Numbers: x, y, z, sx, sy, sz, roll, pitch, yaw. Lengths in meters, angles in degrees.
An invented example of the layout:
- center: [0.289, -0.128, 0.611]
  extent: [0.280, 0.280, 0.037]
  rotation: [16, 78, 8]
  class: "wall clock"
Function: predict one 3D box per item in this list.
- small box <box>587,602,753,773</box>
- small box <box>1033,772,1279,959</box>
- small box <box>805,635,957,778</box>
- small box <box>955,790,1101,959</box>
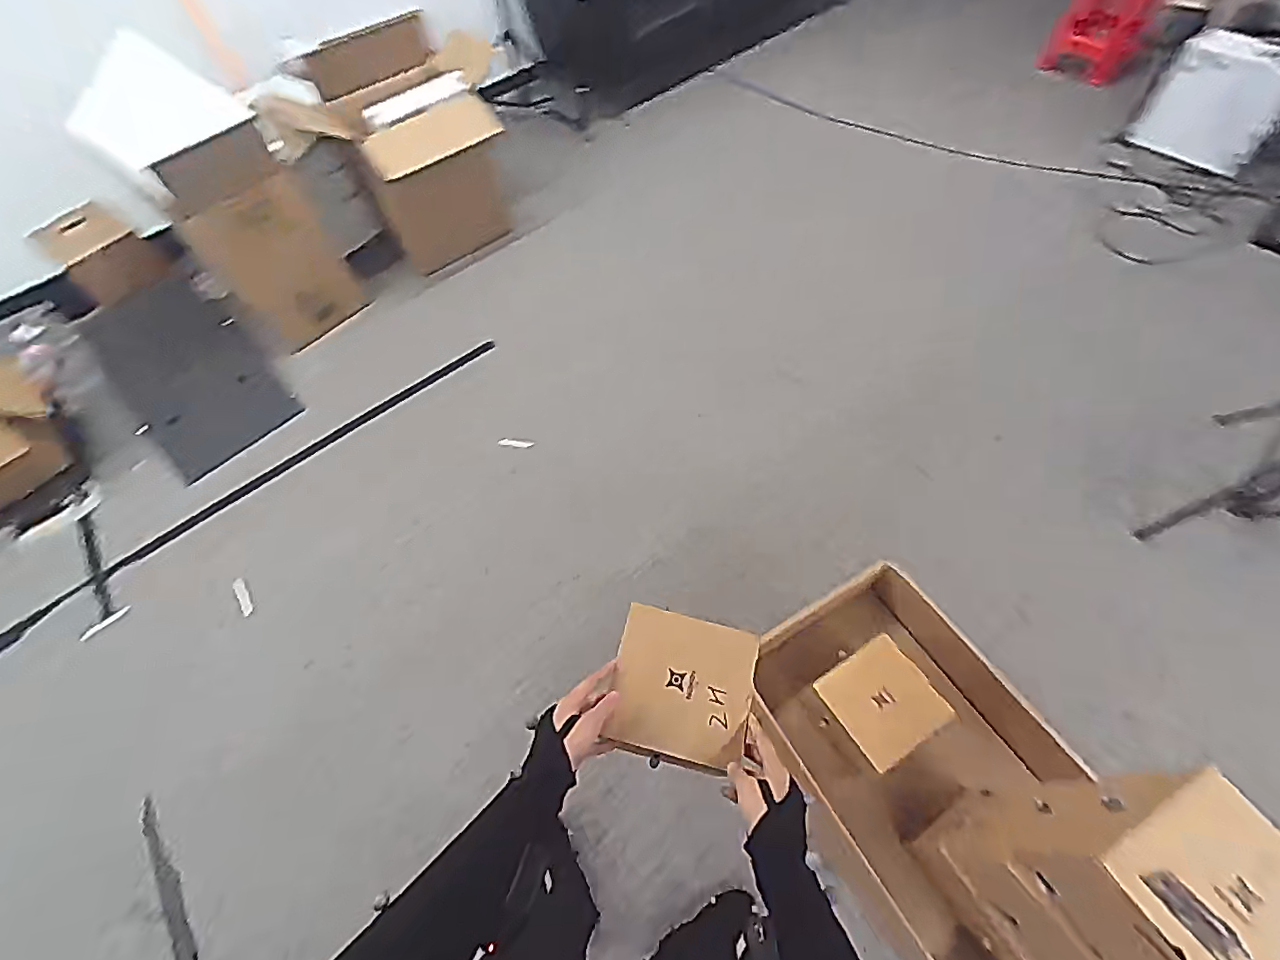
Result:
- center: [0.037, 0.285, 0.726]
  extent: [0.179, 0.176, 0.168]
  rotation: [14, 61, 4]
  class: "small box"
- center: [0.565, 0.439, 0.568]
  extent: [0.179, 0.176, 0.168]
  rotation: [-26, 60, -12]
  class: "small box"
- center: [0.422, 0.417, 0.985]
  extent: [0.179, 0.176, 0.168]
  rotation: [-29, 61, -13]
  class: "small box"
- center: [0.564, 0.534, 0.705]
  extent: [0.168, 0.176, 0.179]
  rotation: [-30, 61, -13]
  class: "small box"
